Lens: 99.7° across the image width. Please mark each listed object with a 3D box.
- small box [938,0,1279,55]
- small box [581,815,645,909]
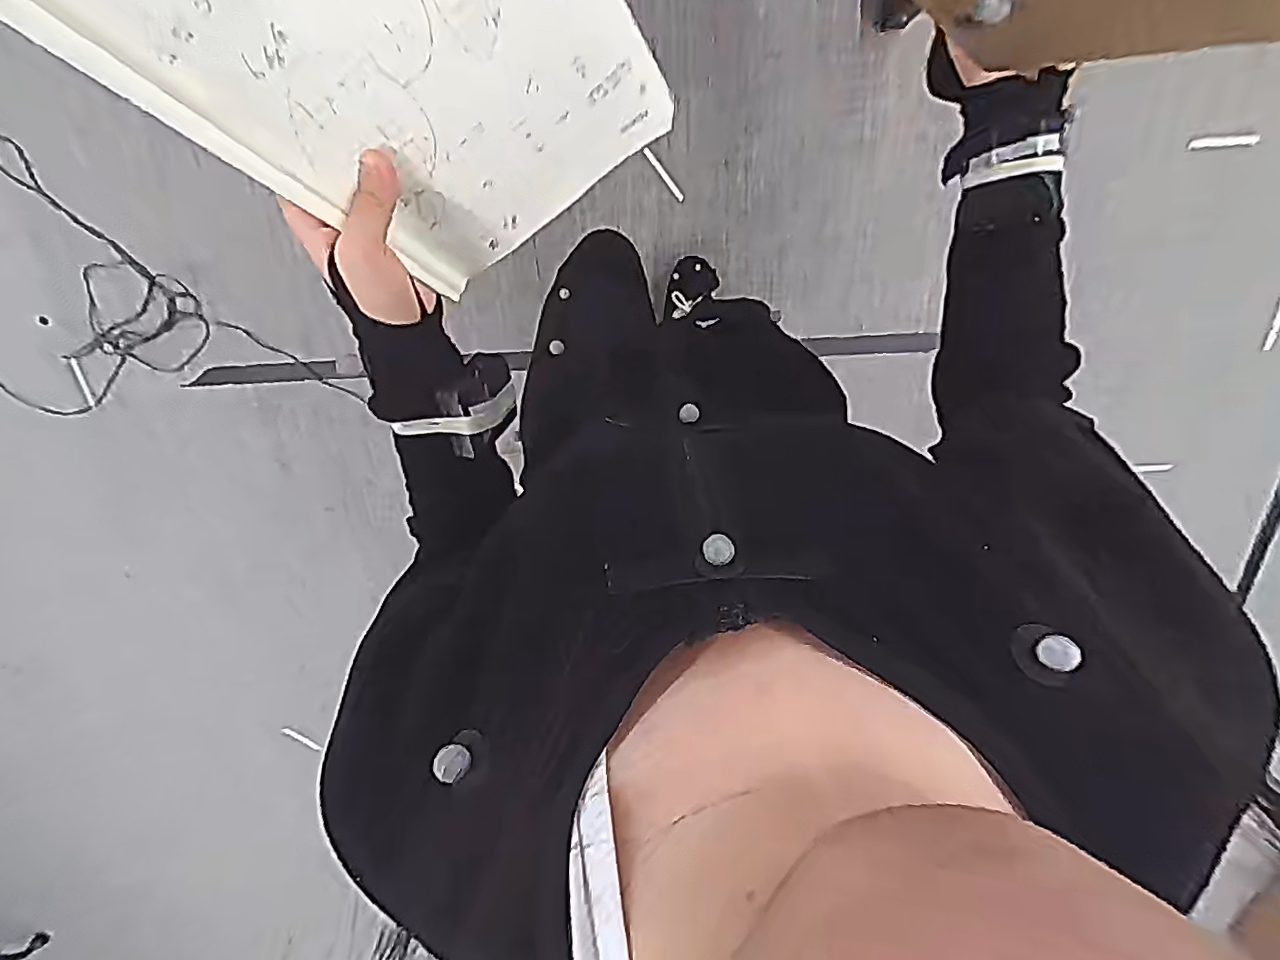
[{"bbox_3d":[0.238,-0.327,0.230,0.168,0.176,0.179,7,115,-33],"label":"small box"},{"bbox_3d":[-0.075,1.120,1.598,0.168,0.176,0.179,-6,113,4],"label":"small box"}]
